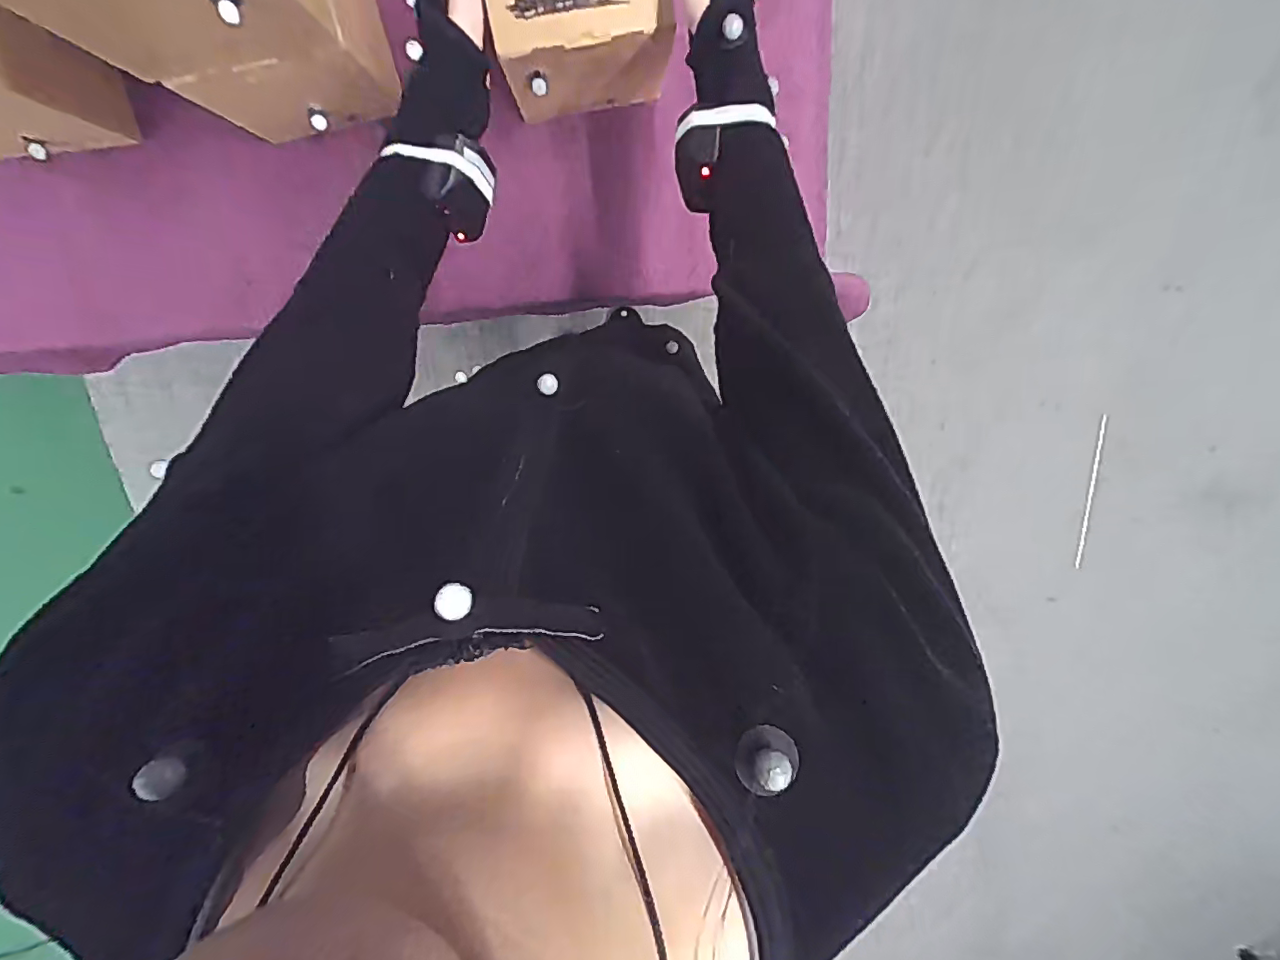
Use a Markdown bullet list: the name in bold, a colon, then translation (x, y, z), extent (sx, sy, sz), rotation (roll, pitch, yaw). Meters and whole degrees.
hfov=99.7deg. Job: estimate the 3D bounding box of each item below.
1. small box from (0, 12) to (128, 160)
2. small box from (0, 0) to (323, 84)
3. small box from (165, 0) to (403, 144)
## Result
- **small box**: translation (-0.662, -0.430, 0.525), extent (0.179, 0.176, 0.168), rotation (-7, 107, -2)
- **small box**: translation (-0.358, -0.415, 0.379), extent (0.179, 0.176, 0.168), rotation (-10, 106, 0)
- **small box**: translation (-0.365, -0.466, 0.534), extent (0.168, 0.176, 0.179), rotation (-12, 108, 1)
